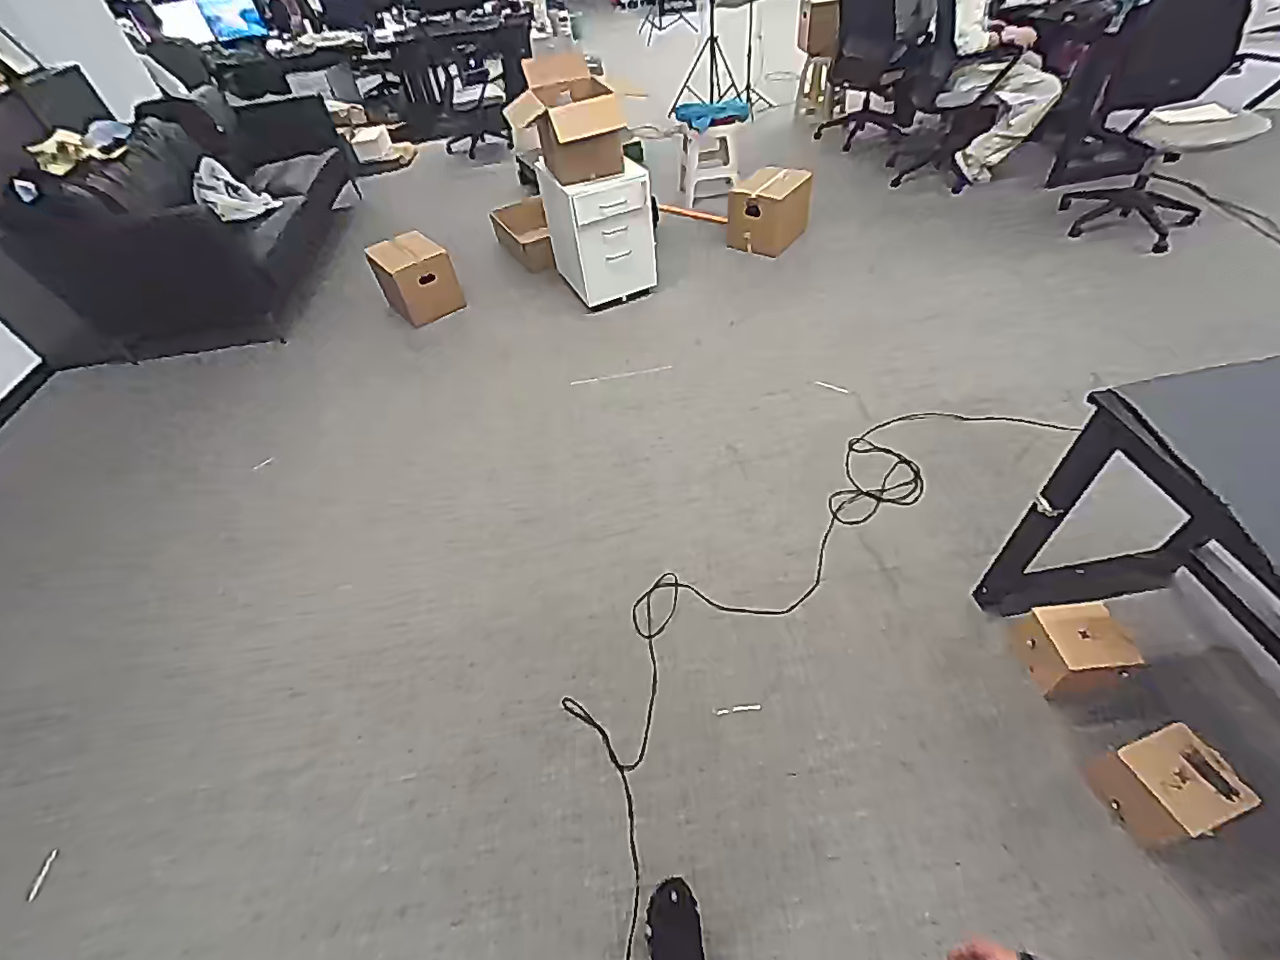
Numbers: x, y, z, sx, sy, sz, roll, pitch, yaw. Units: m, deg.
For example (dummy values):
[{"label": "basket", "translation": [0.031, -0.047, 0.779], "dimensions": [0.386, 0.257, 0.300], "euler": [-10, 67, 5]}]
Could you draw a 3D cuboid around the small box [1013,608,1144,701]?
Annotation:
[{"label": "small box", "translation": [1.080, 0.442, 1.358], "dimensions": [0.179, 0.176, 0.168], "euler": [-6, 46, 2]}]
